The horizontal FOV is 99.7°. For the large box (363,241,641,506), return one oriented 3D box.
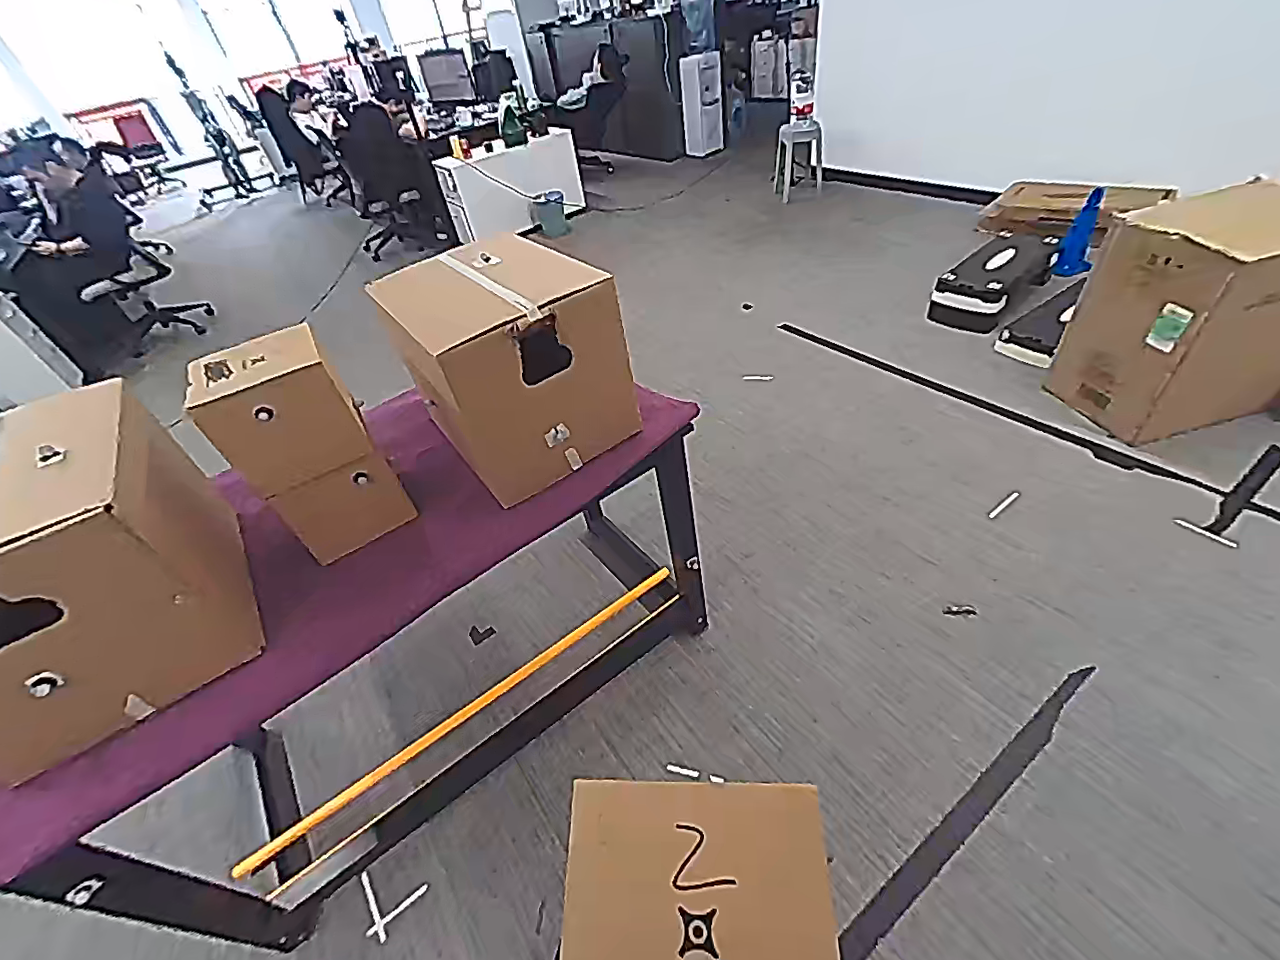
[{"bbox_3d":[-0.254,-0.219,1.030,0.320,0.320,0.408,-32,45,-22],"label":"large box"}]
